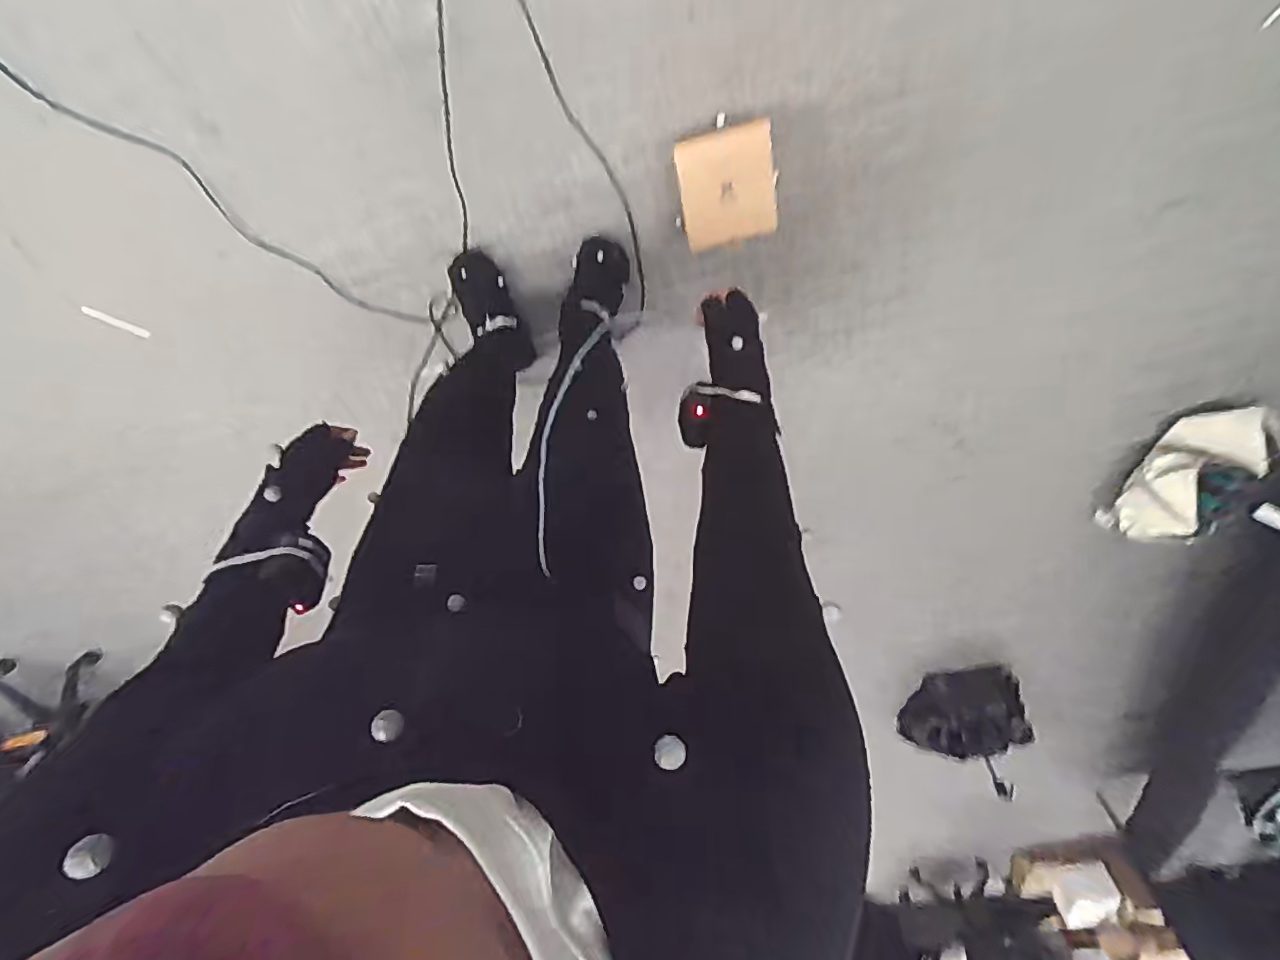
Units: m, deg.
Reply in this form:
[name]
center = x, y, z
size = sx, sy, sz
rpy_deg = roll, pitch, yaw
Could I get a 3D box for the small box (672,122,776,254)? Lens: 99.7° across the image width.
[small box]
center = 0.157, -0.556, 1.027
size = 0.168, 0.176, 0.179
rpy_deg = -11, 126, 7
